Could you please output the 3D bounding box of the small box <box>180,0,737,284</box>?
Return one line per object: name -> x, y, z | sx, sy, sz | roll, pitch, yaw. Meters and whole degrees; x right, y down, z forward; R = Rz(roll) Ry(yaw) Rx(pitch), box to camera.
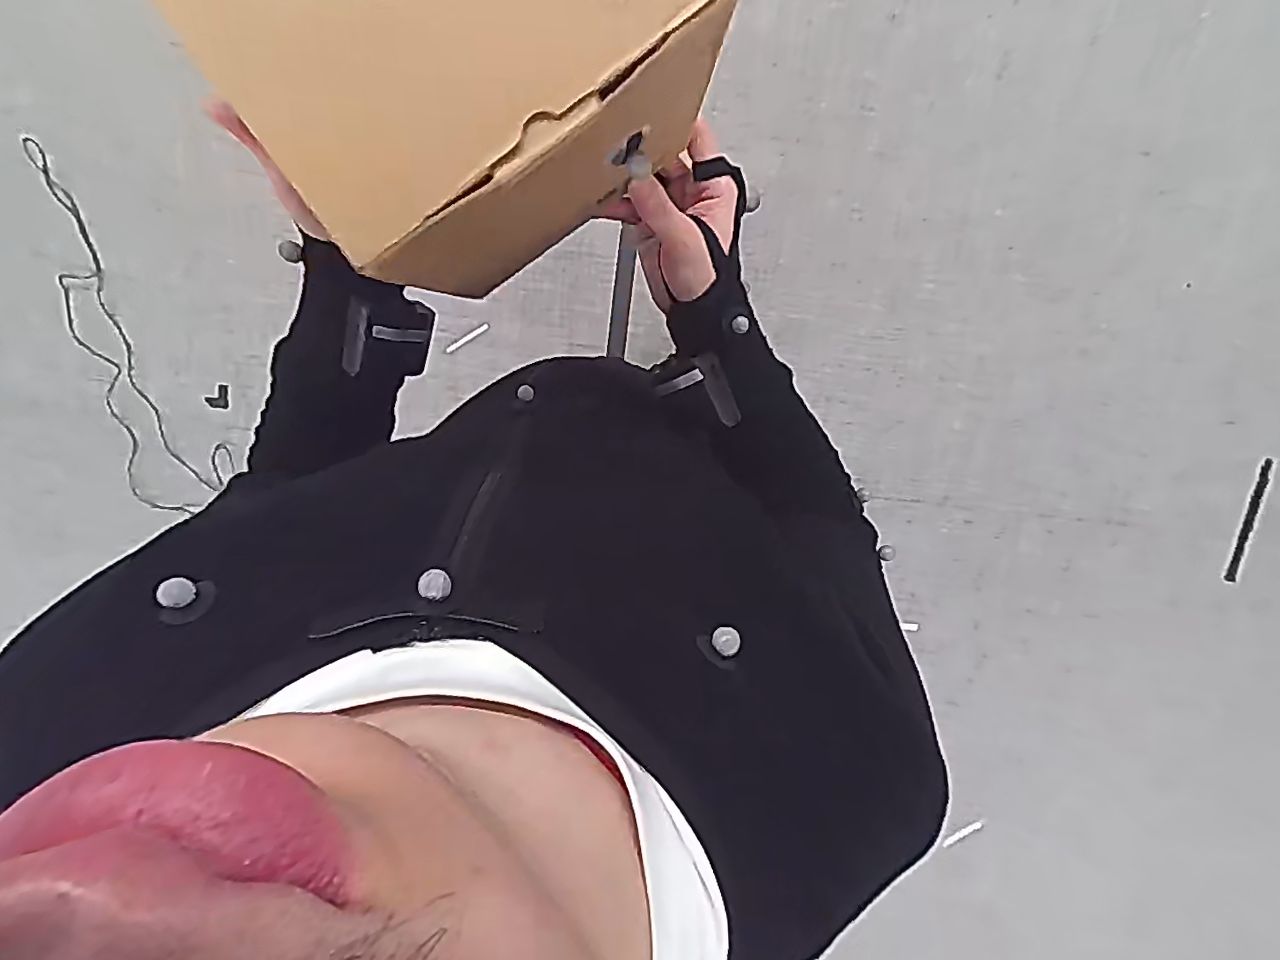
small box -> -0.081, -0.212, 0.255 | 0.168, 0.176, 0.179 | -35, 102, 6
